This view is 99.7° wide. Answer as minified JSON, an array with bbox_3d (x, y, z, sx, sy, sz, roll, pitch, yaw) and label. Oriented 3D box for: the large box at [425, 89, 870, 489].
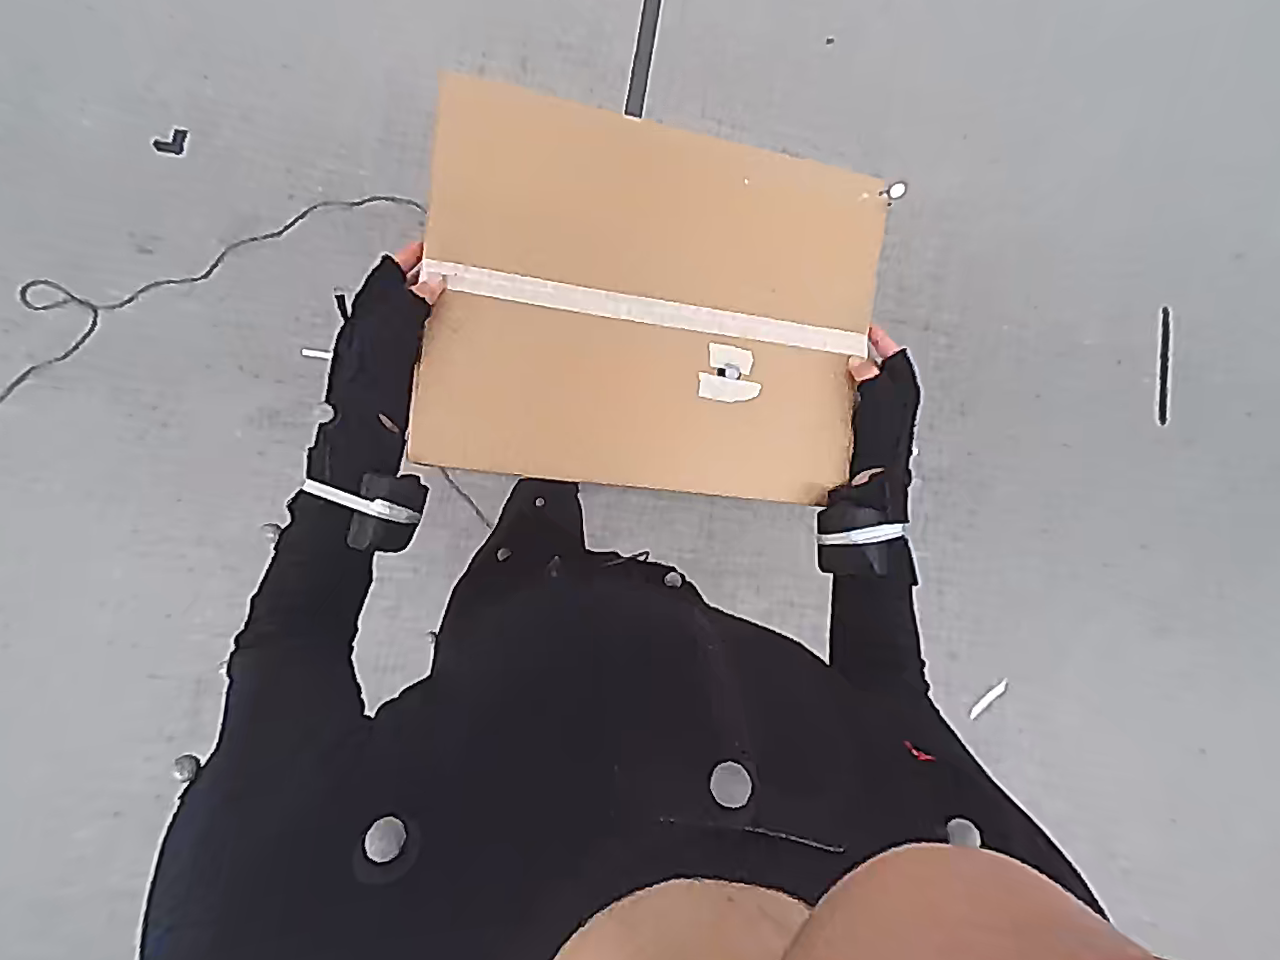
[{"bbox_3d":[-0.013,-0.171,0.642,0.408,0.320,0.320,6,95,-13],"label":"large box"}]
